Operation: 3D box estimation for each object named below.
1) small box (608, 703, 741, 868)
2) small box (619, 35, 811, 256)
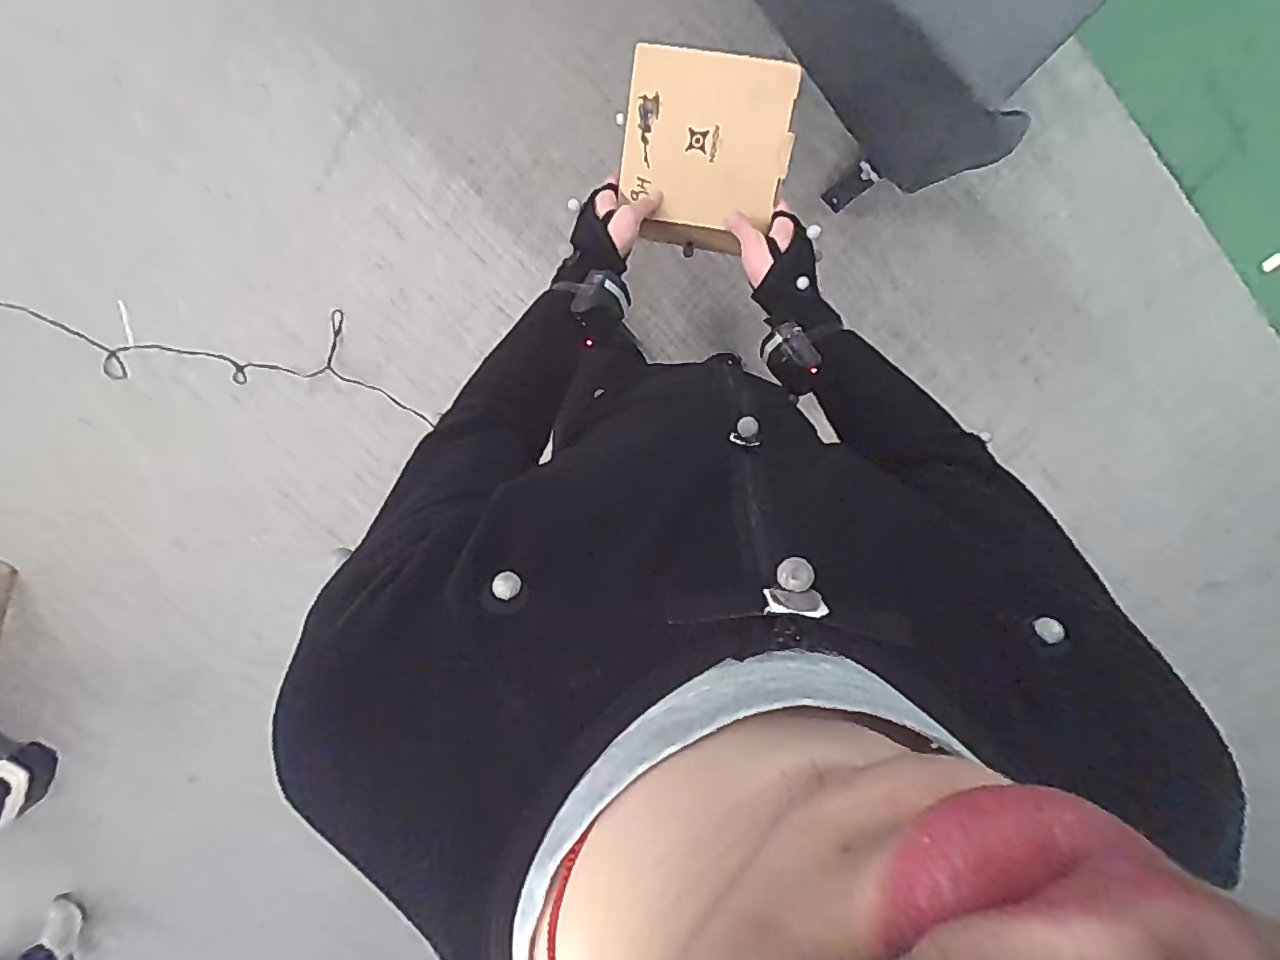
[{"bbox_3d":[0.059,0.561,1.013,0.179,0.176,0.168,-43,100,12],"label":"small box"},{"bbox_3d":[0.074,-0.370,0.634,0.179,0.176,0.168,8,104,-2],"label":"small box"}]
